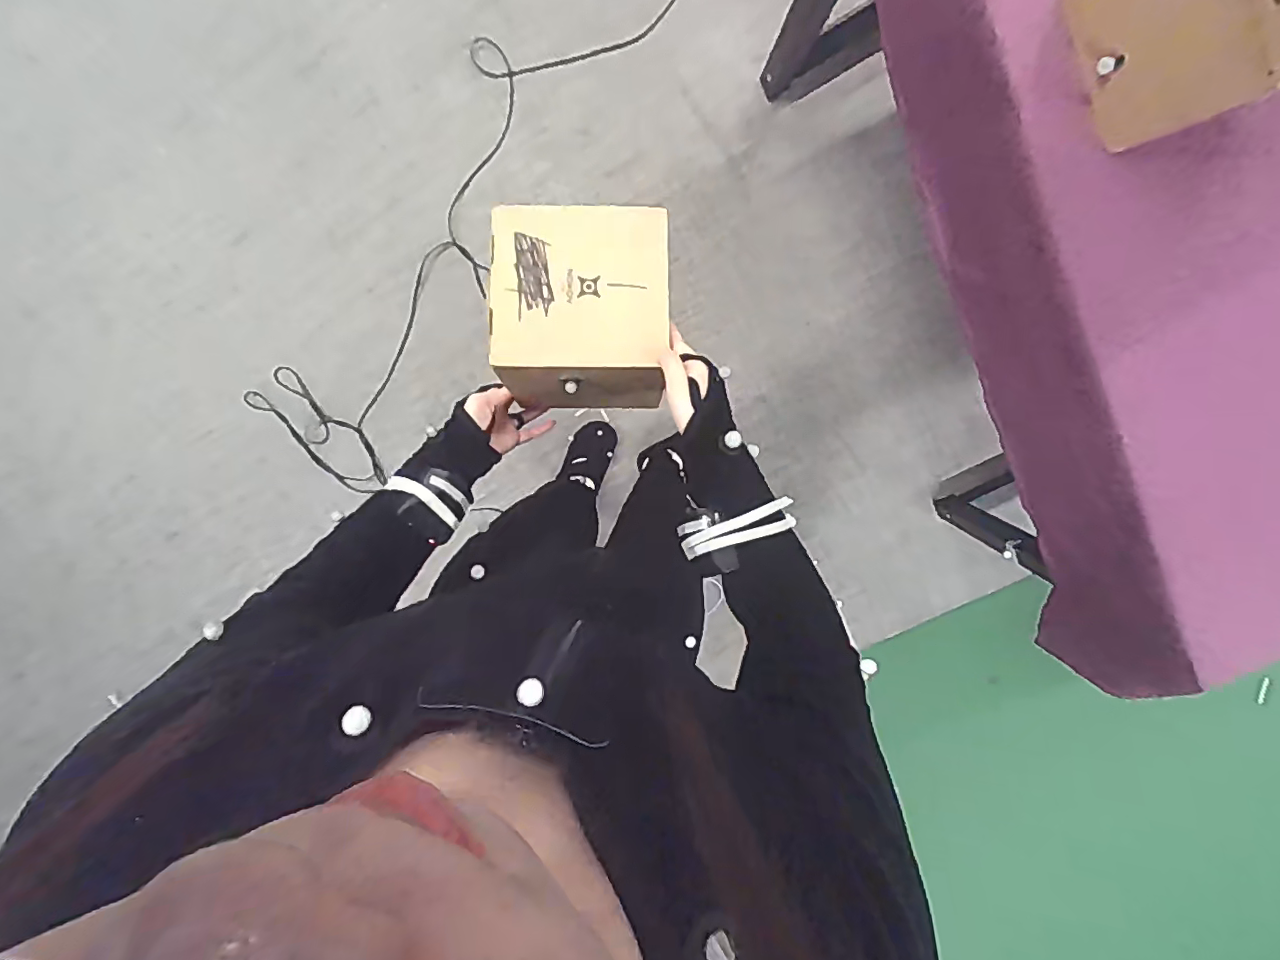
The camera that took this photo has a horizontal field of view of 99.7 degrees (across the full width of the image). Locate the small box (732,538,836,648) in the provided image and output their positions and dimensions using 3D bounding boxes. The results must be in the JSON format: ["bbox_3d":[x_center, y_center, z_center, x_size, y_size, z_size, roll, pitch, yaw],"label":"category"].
[{"bbox_3d":[0.331,0.255,1.279,0.168,0.176,0.179,-26,105,7],"label":"small box"}]

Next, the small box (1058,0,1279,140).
[{"bbox_3d":[0.544,-0.451,0.500,0.168,0.176,0.179,-29,104,7],"label":"small box"}]

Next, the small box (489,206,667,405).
[{"bbox_3d":[-0.064,-0.184,0.615,0.179,0.176,0.168,-1,84,-3],"label":"small box"}]

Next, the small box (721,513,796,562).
[{"bbox_3d":[0.328,0.204,1.434,0.168,0.176,0.179,-23,105,6],"label":"small box"}]
